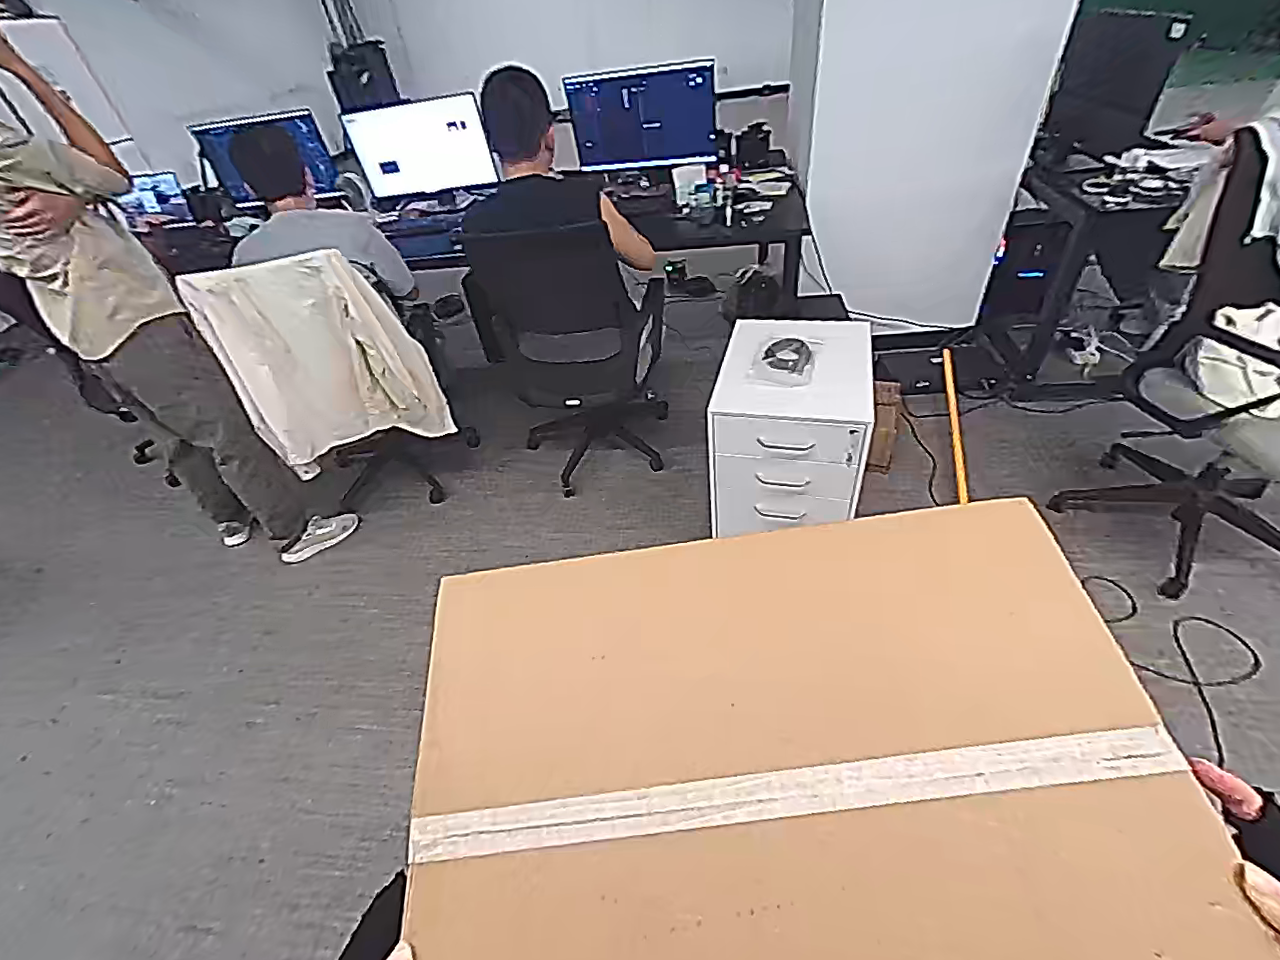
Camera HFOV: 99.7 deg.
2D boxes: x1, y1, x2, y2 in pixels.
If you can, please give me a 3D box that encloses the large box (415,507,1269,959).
[{"bbox_3d":[0.091,0.258,0.419,0.408,0.320,0.320,-9,57,2],"label":"large box"}]
